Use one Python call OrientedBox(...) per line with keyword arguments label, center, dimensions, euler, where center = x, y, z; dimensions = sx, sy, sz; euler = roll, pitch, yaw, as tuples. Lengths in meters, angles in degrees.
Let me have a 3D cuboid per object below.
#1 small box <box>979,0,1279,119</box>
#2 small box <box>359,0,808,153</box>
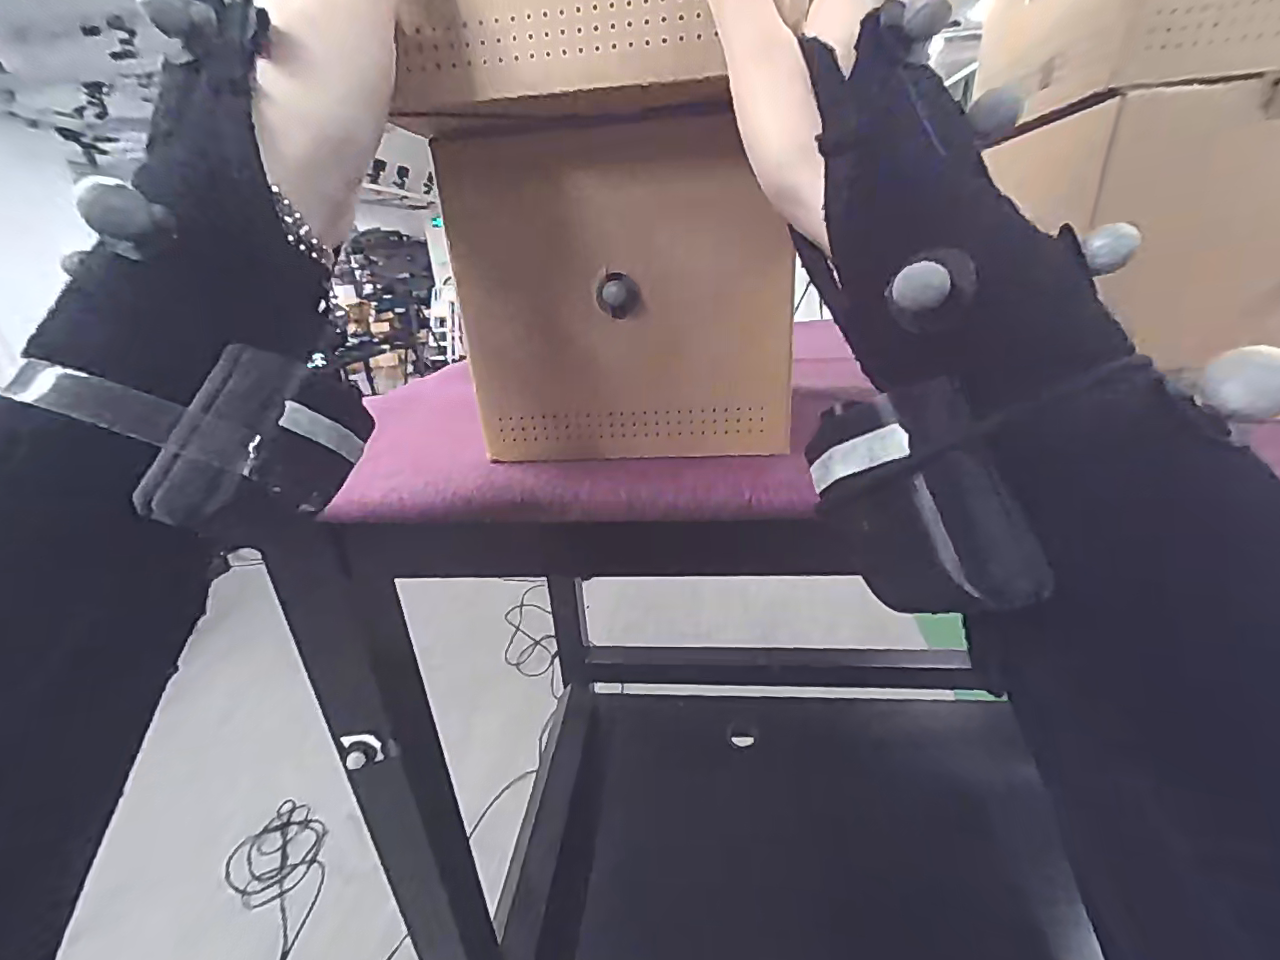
OrientedBox(label="small box", center=(0.305, -0.299, 0.281), dimensions=(0.179, 0.176, 0.168), euler=(0, 24, 8))
OrientedBox(label="small box", center=(-0.023, -0.261, 0.247), dimensions=(0.179, 0.176, 0.168), euler=(-2, 23, 7))
